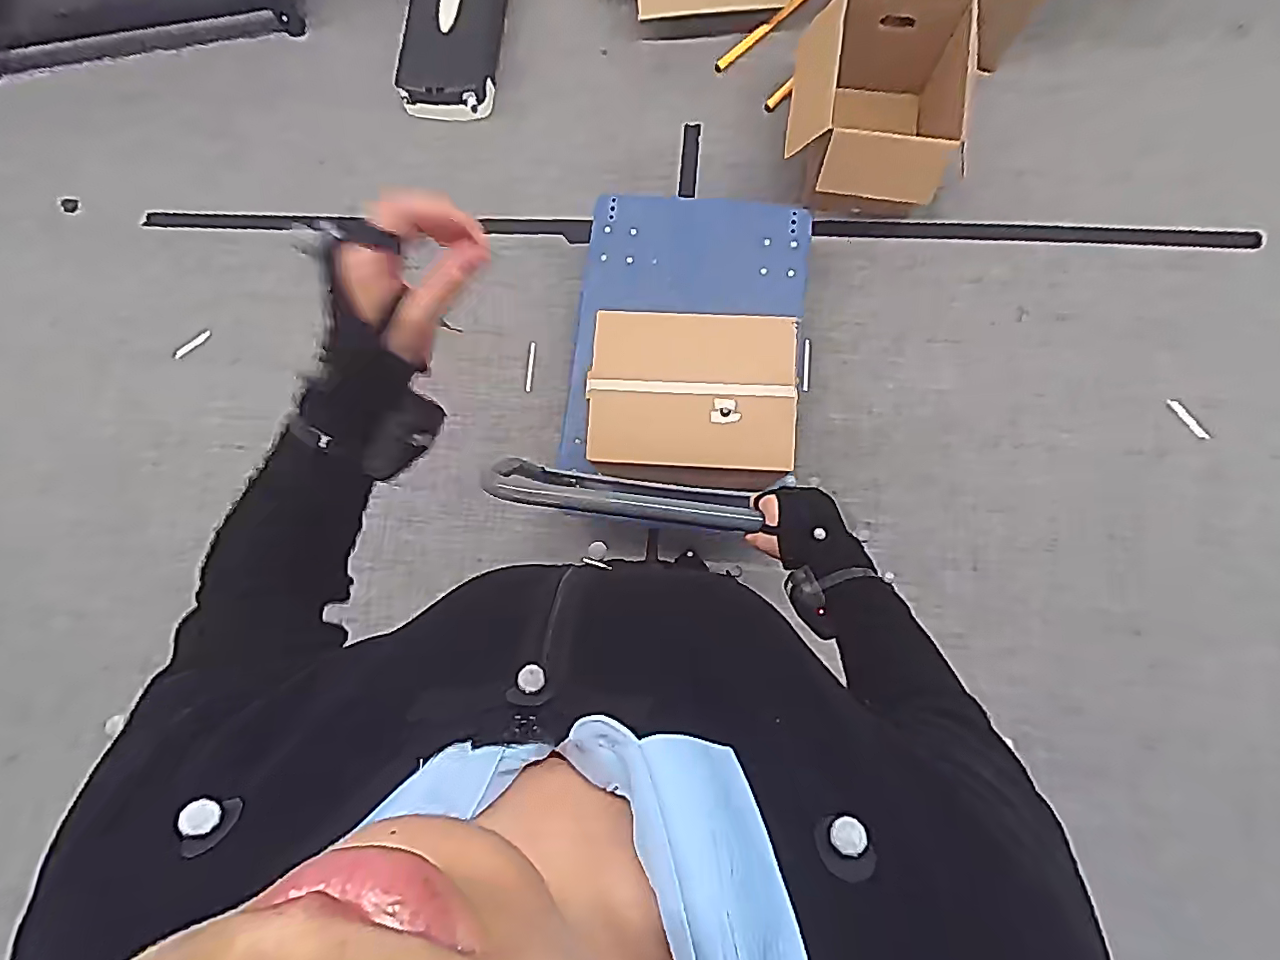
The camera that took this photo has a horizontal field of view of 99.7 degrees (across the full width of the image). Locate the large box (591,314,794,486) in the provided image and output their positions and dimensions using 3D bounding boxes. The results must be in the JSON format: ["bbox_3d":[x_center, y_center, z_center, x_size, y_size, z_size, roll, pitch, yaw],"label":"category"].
[{"bbox_3d":[0.111,-0.161,1.227,0.408,0.320,0.320,3,83,3],"label":"large box"}]
